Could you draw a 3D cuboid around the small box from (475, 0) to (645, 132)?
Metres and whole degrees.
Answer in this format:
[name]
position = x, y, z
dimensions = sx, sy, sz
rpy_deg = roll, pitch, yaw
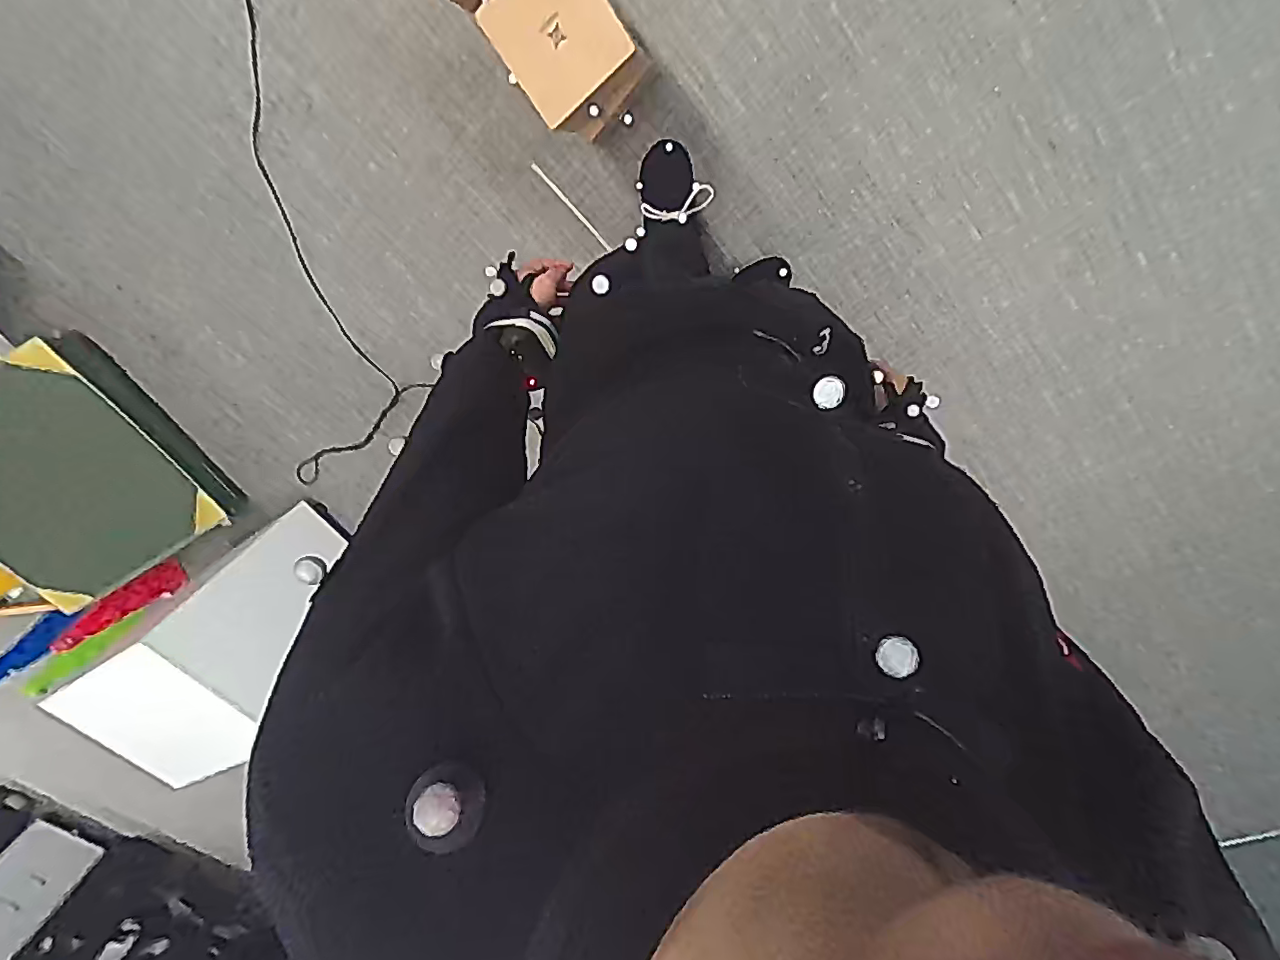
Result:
[small box]
position = -0.109, -0.672, 0.829
dimensions = 0.168, 0.176, 0.179
rpy_deg = -30, 112, 23
